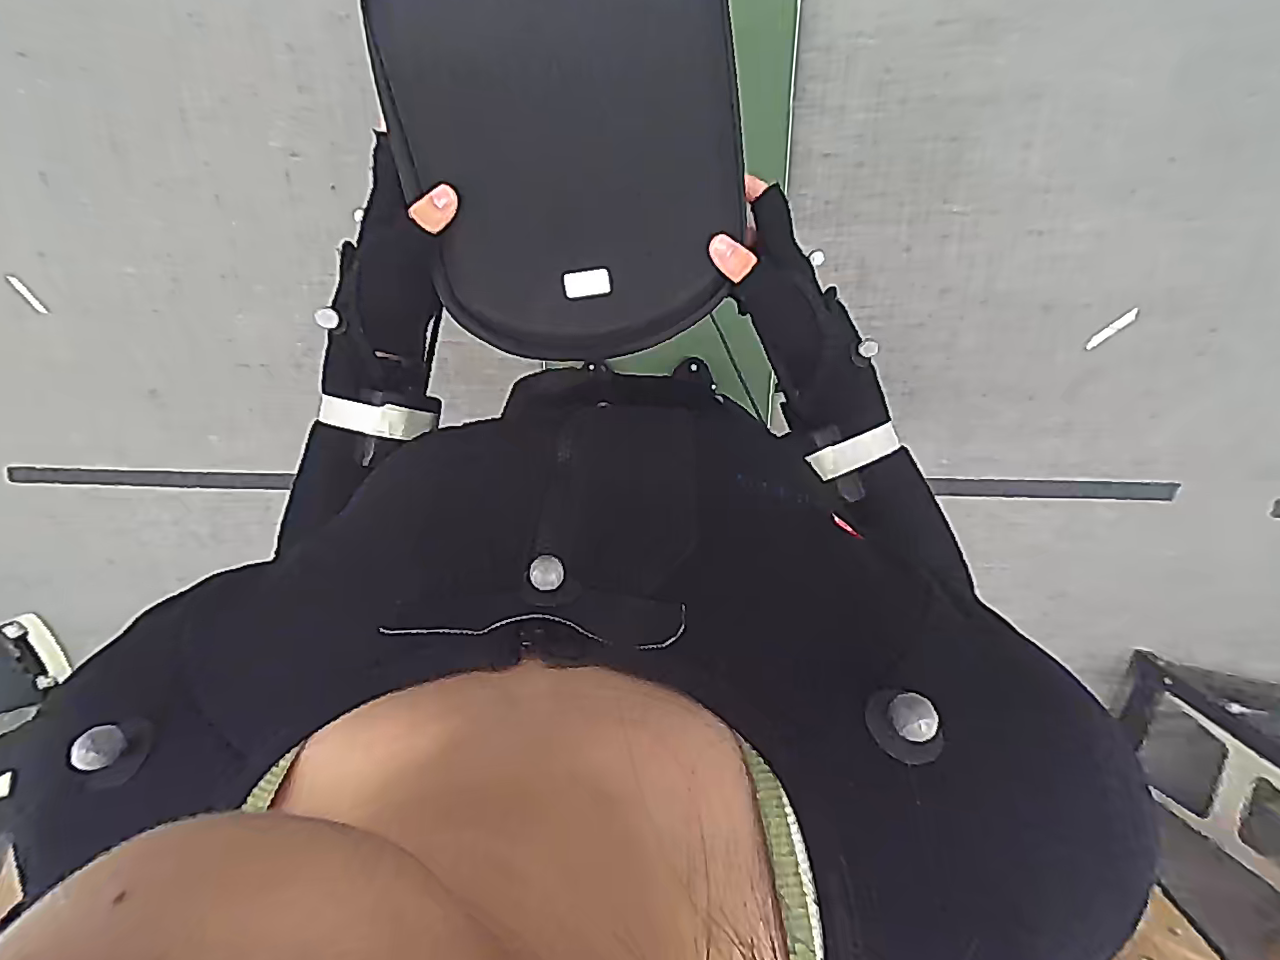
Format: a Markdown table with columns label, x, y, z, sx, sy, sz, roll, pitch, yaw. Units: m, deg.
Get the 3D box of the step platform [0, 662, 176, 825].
| label | x | y | z | sx | sy | sz | roll | pitch | yaw |
| --- | --- | --- | --- | --- | --- | --- | --- | --- | --- |
| step platform | -1.926 | 0.877 | 1.783 | 0.684 | 0.204 | 0.286 | -27 | 101 | 9 |
